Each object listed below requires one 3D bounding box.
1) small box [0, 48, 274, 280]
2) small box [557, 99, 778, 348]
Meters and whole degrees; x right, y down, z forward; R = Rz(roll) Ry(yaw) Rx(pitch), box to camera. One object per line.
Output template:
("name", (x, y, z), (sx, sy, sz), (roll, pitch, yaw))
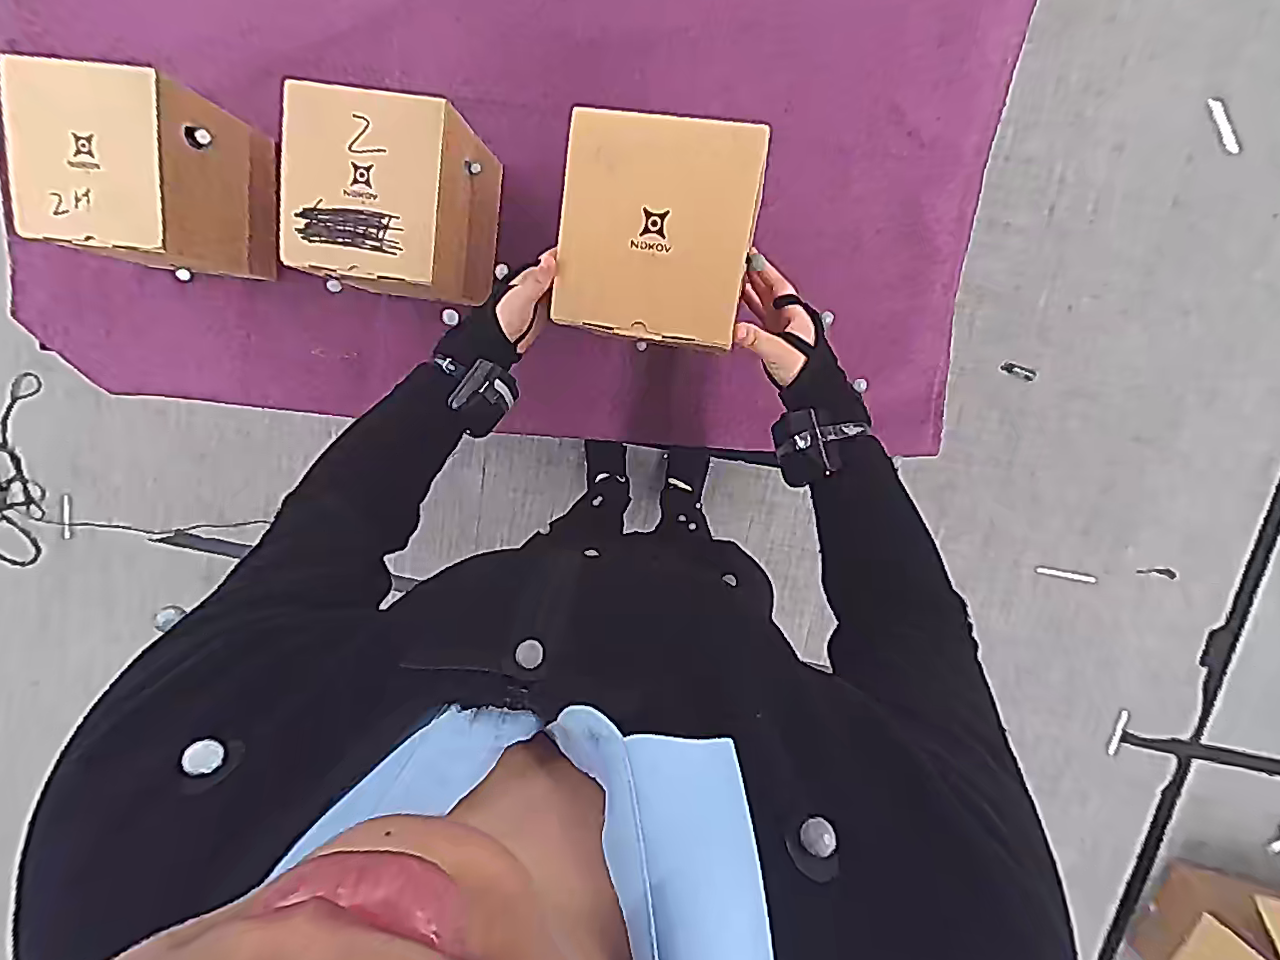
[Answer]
("small box", (-0.557, -0.345, 0.623), (0.168, 0.176, 0.179), (7, 101, 2))
("small box", (0.029, -0.231, 0.531), (0.168, 0.176, 0.179), (10, 103, 7))
